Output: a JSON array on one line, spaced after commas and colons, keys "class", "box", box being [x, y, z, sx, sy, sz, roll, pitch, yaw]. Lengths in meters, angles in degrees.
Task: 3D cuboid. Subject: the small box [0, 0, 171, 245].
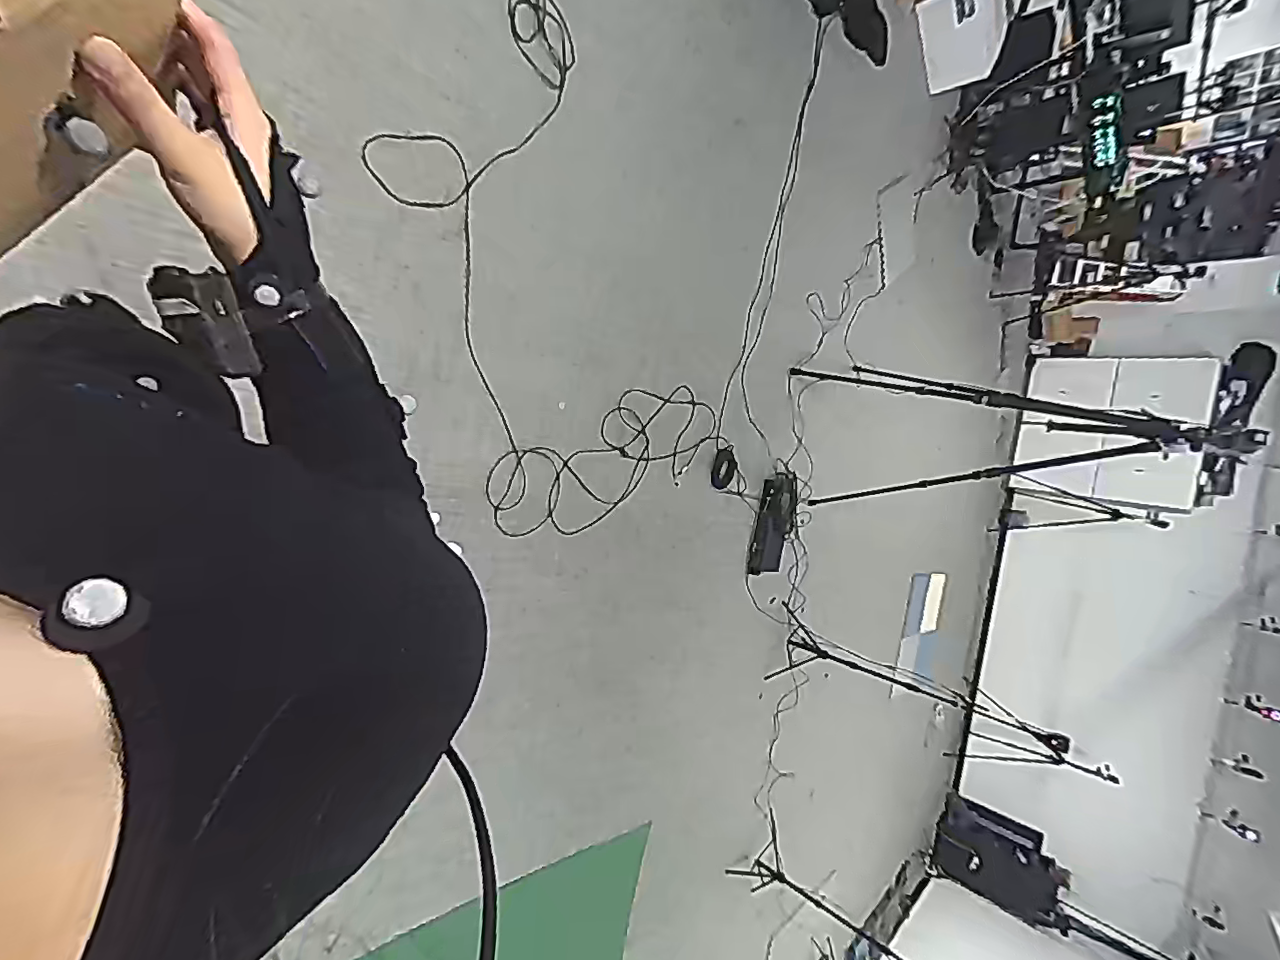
[{"class": "small box", "box": [-0.321, -0.210, 0.203, 0.179, 0.176, 0.168, 40, 60, -33]}]
